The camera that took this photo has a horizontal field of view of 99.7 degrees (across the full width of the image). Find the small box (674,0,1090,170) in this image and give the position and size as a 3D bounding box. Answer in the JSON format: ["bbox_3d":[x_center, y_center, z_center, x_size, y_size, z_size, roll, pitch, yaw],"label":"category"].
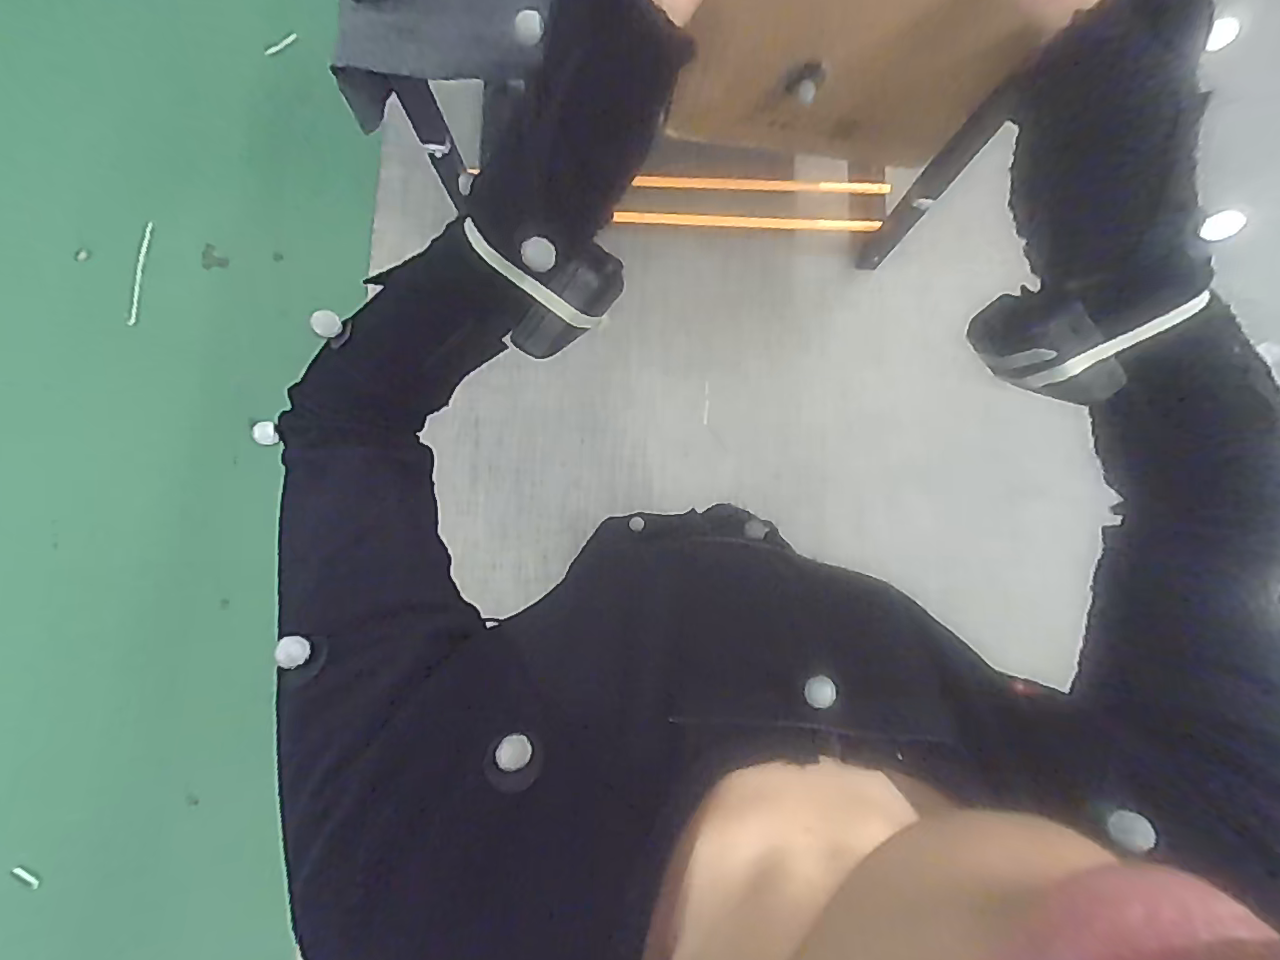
[{"bbox_3d":[0.112,-0.291,0.258,0.168,0.176,0.179,5,87,-5],"label":"small box"}]
